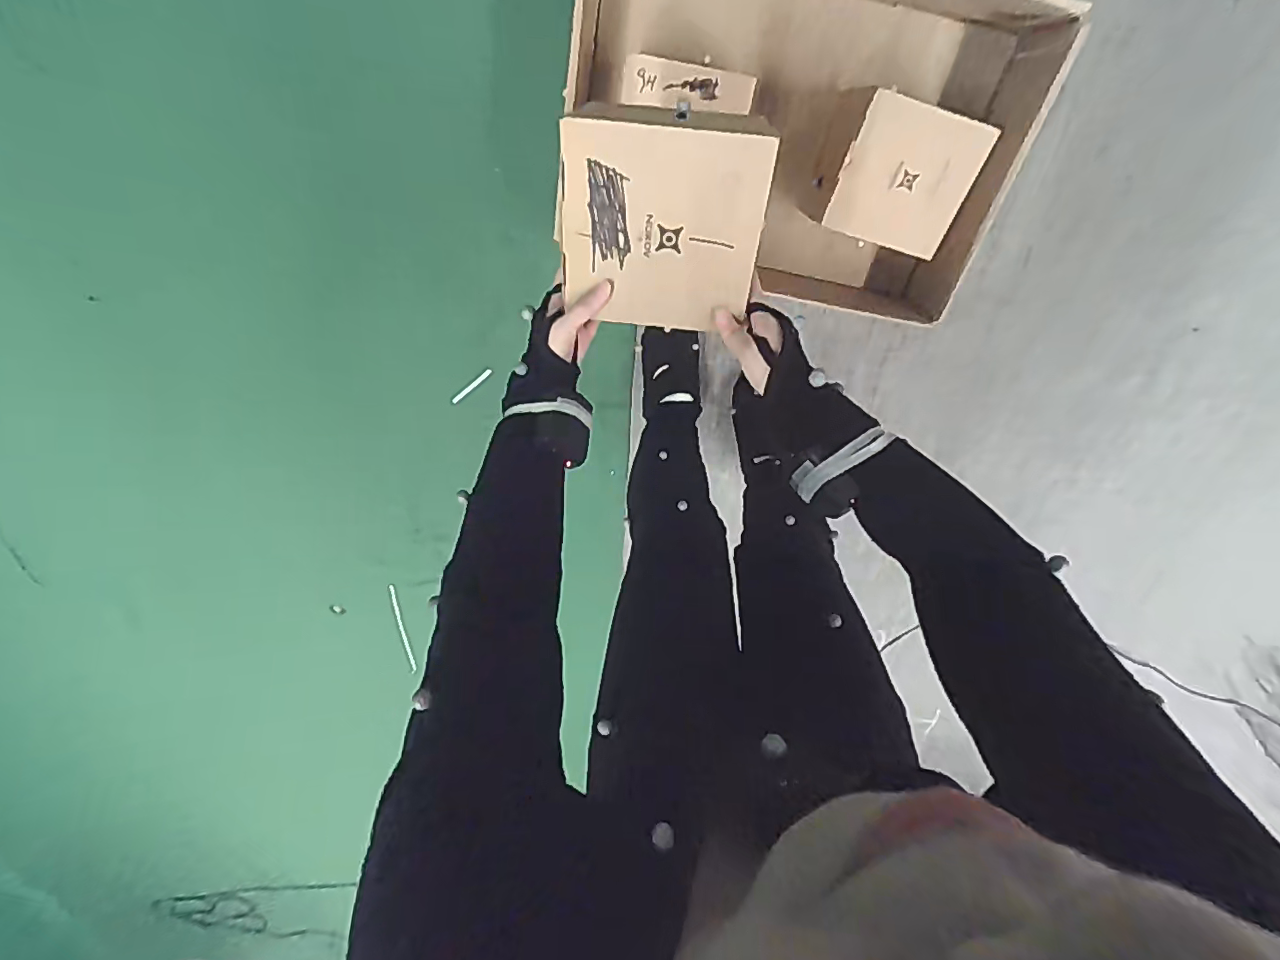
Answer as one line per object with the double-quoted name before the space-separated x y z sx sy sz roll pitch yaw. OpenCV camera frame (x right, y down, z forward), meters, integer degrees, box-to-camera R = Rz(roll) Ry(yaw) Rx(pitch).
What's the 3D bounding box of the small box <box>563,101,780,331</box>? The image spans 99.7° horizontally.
"small box" 0.026 -0.268 0.540 0.179 0.176 0.168 7 129 1
